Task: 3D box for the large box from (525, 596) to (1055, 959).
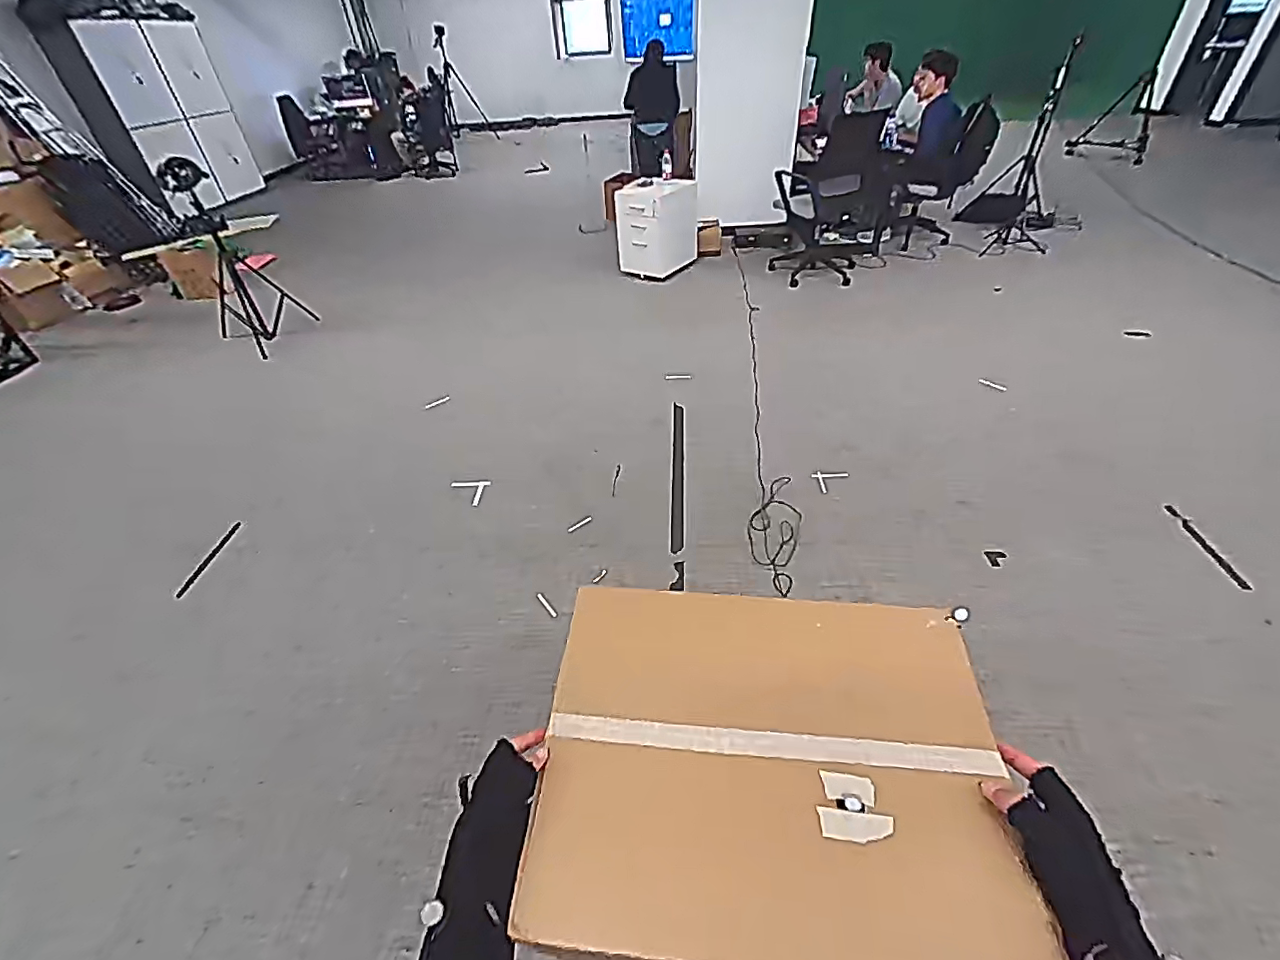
[{"bbox_3d":[0.124,0.355,0.611,0.408,0.320,0.320,2,46,6],"label":"large box"}]
